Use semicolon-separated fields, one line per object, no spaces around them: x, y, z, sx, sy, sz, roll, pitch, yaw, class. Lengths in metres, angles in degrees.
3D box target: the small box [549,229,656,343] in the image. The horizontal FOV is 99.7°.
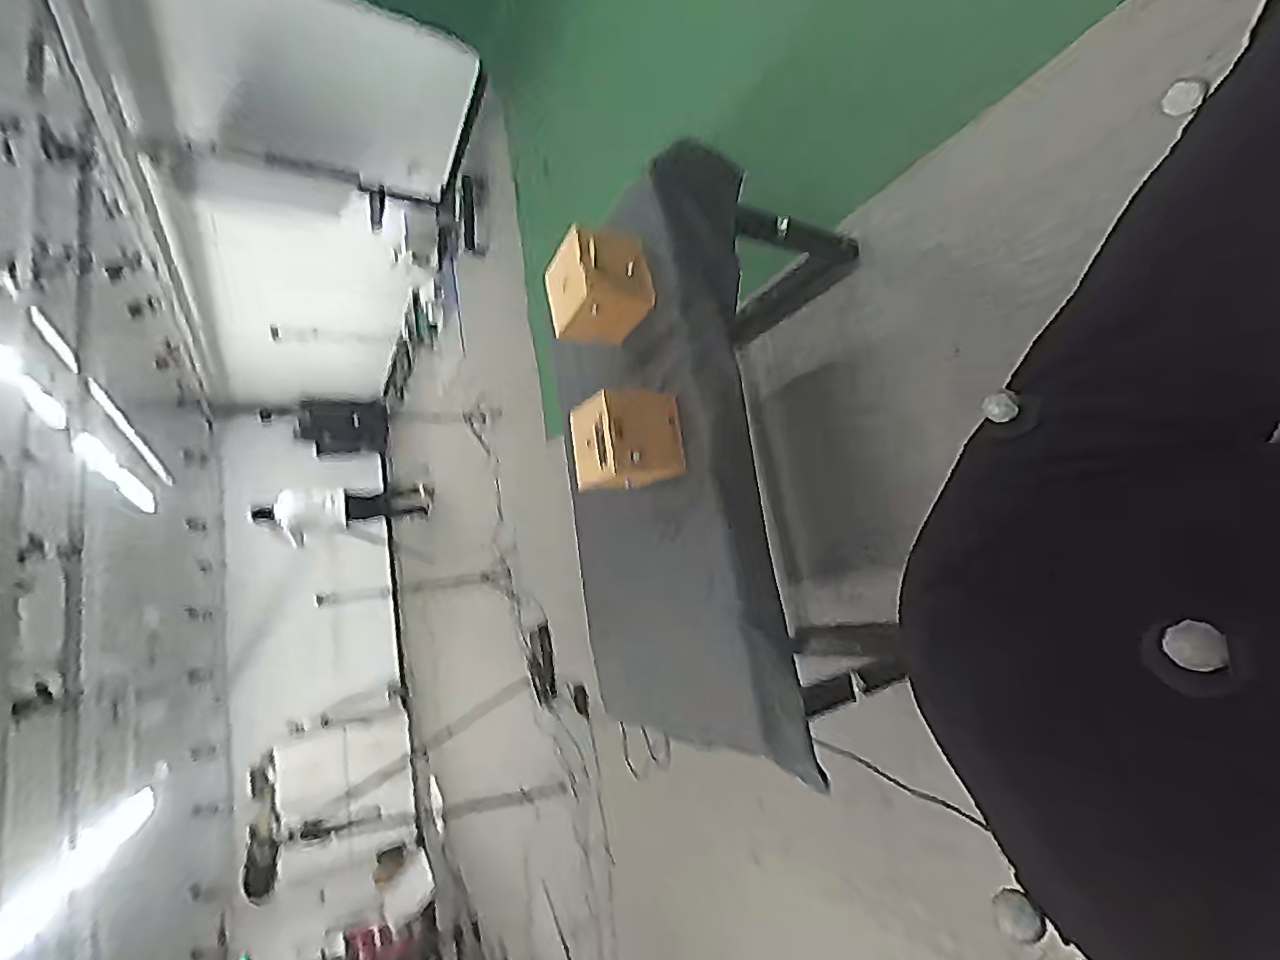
-0.087;-0.426;1.219;0.179;0.176;0.168;-34;64;54;small box
